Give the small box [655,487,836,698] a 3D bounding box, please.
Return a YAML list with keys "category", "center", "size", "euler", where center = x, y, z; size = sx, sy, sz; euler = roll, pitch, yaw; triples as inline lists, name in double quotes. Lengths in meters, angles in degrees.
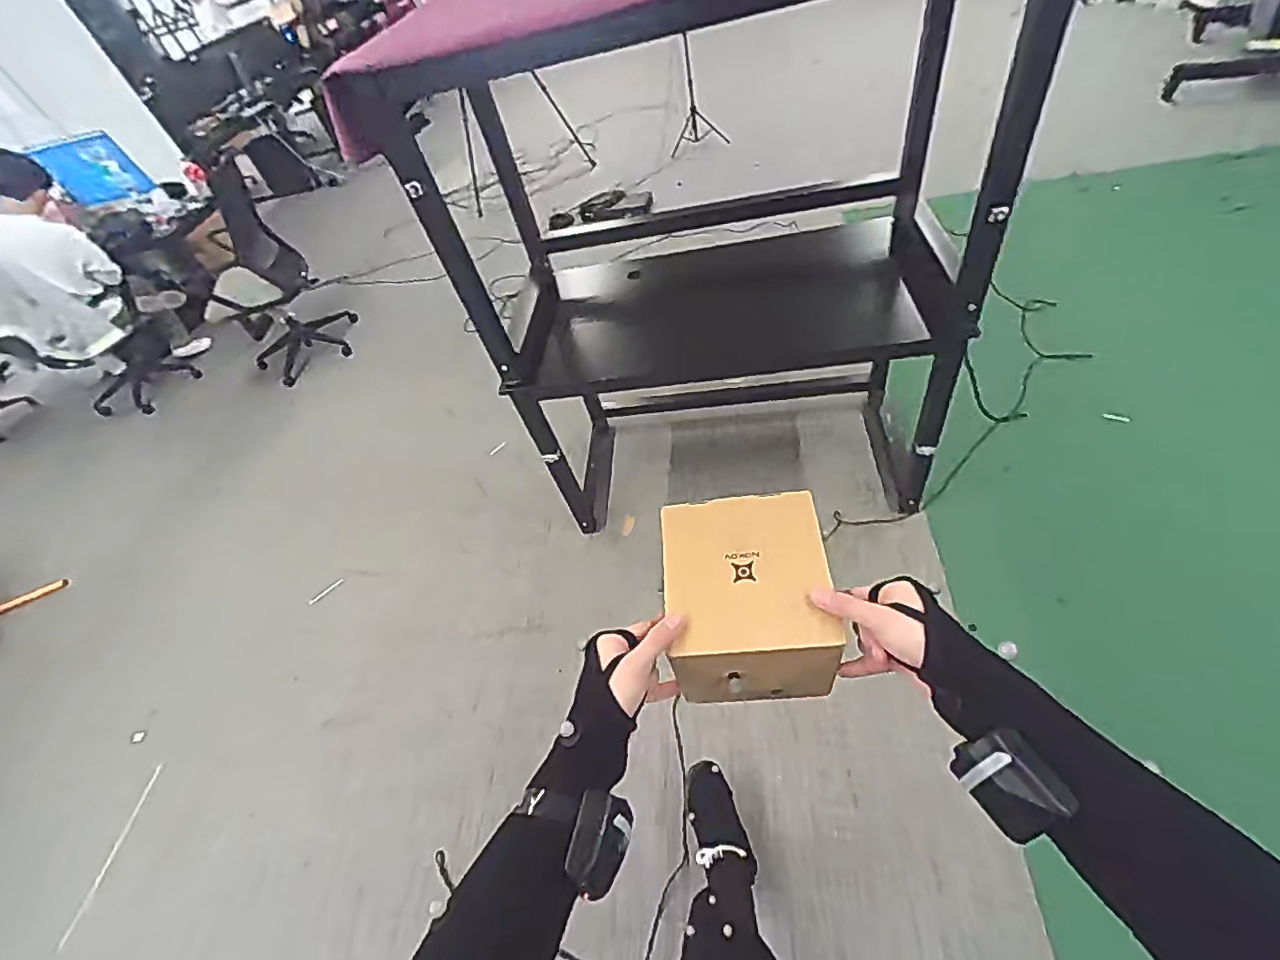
- category: "small box"
  center: [0.113, 0.134, 0.604]
  size: [0.168, 0.176, 0.179]
  euler: [-8, 51, 8]
